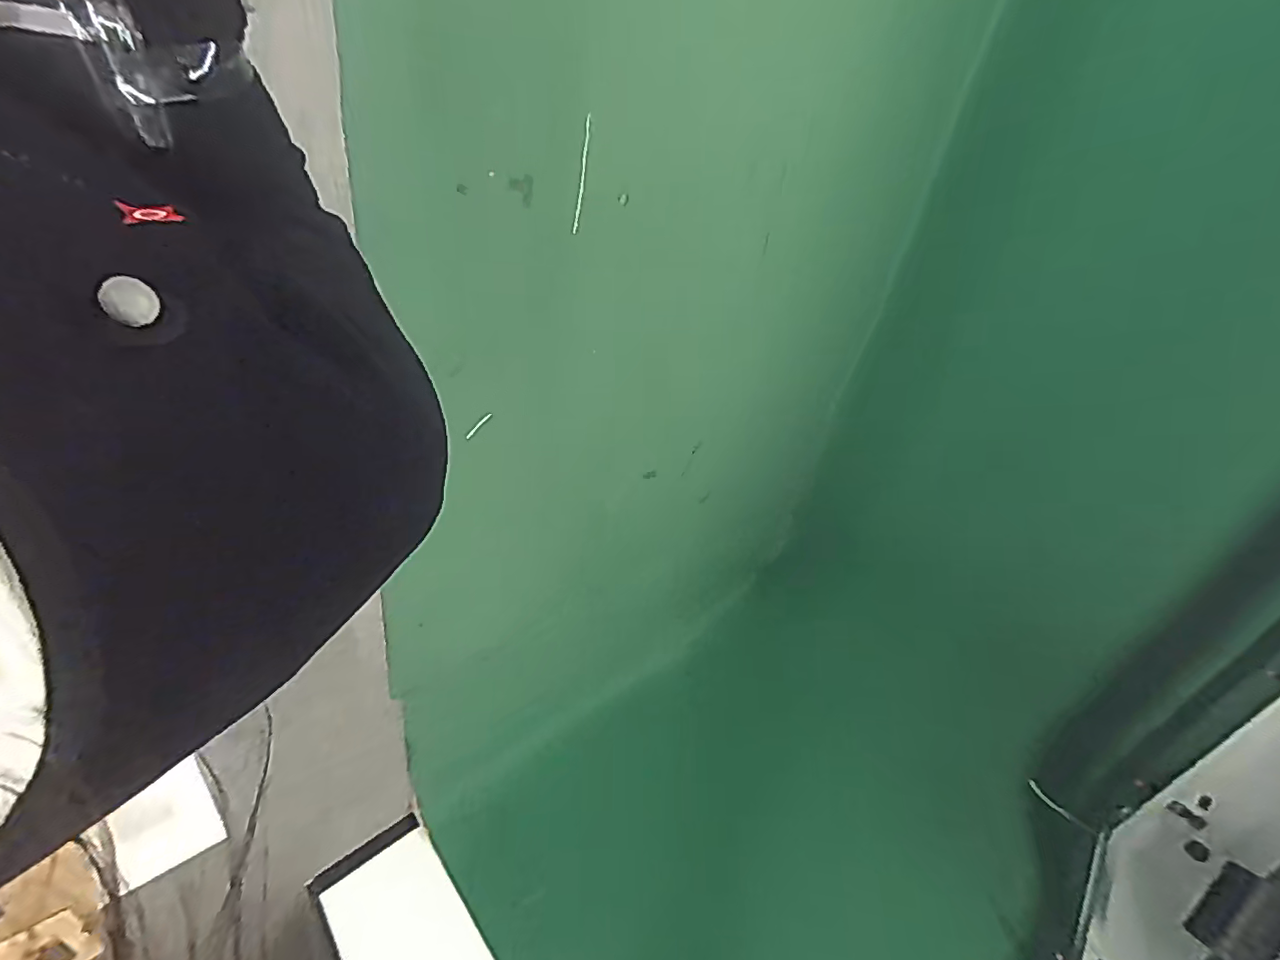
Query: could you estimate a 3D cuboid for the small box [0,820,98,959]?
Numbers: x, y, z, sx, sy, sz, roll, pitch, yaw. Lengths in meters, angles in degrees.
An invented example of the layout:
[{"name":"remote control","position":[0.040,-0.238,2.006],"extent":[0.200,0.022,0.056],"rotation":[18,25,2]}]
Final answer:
[{"name":"small box","position":[-0.944,0.650,0.790],"extent":[0.179,0.176,0.168],"rotation":[-17,131,-42]}]
